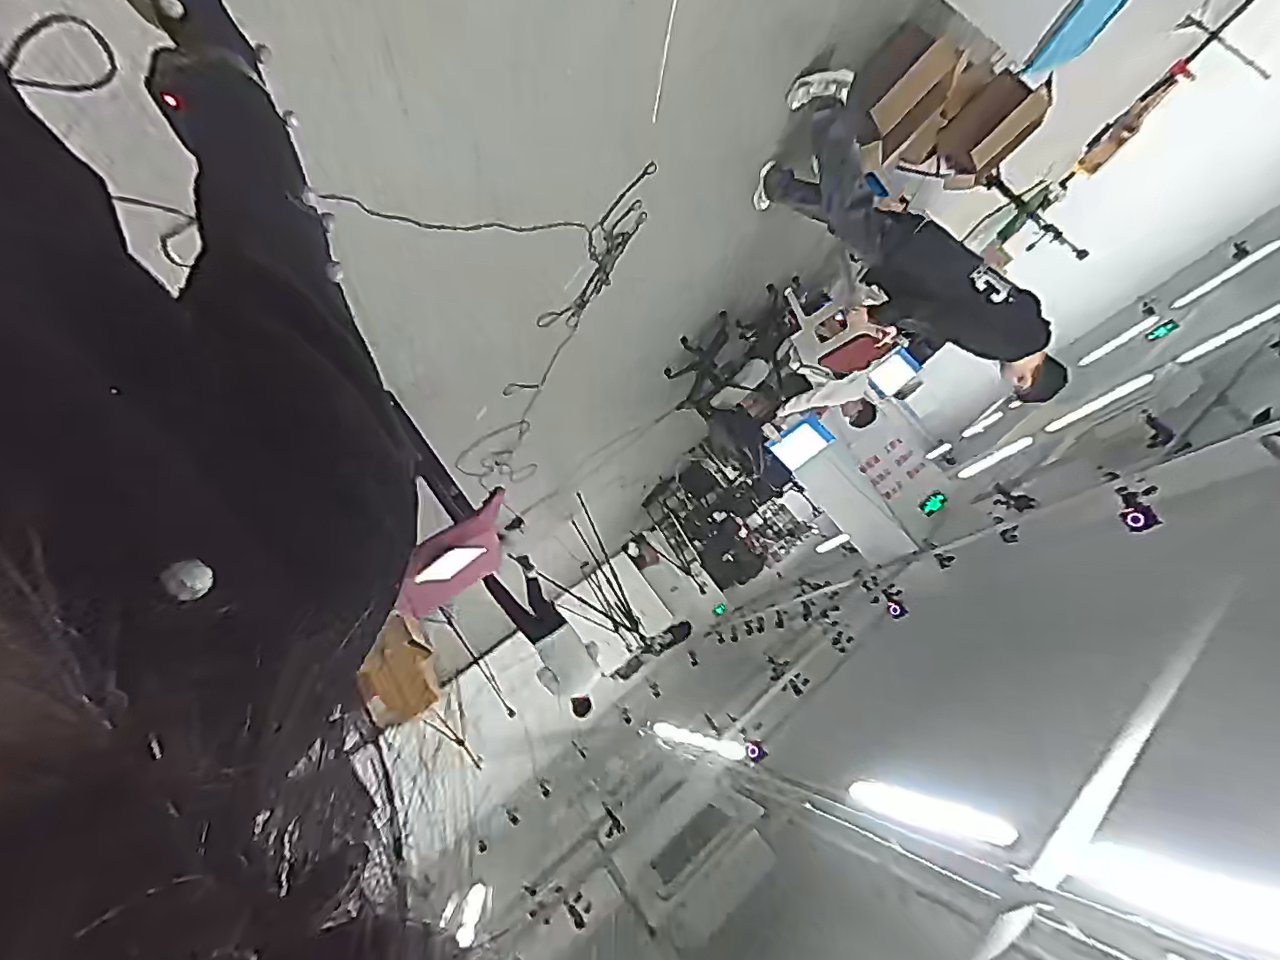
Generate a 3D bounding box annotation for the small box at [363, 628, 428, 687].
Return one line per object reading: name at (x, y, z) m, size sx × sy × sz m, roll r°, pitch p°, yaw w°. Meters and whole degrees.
small box at (-0.988, 0.721, 2.188) m, size 0.168 × 0.176 × 0.179 m, roll -33°, pitch 166°, yaw -23°

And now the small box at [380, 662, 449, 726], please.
small box at (-0.893, 0.846, 2.149) m, size 0.179 × 0.176 × 0.168 m, roll -34°, pitch 167°, yaw -20°
